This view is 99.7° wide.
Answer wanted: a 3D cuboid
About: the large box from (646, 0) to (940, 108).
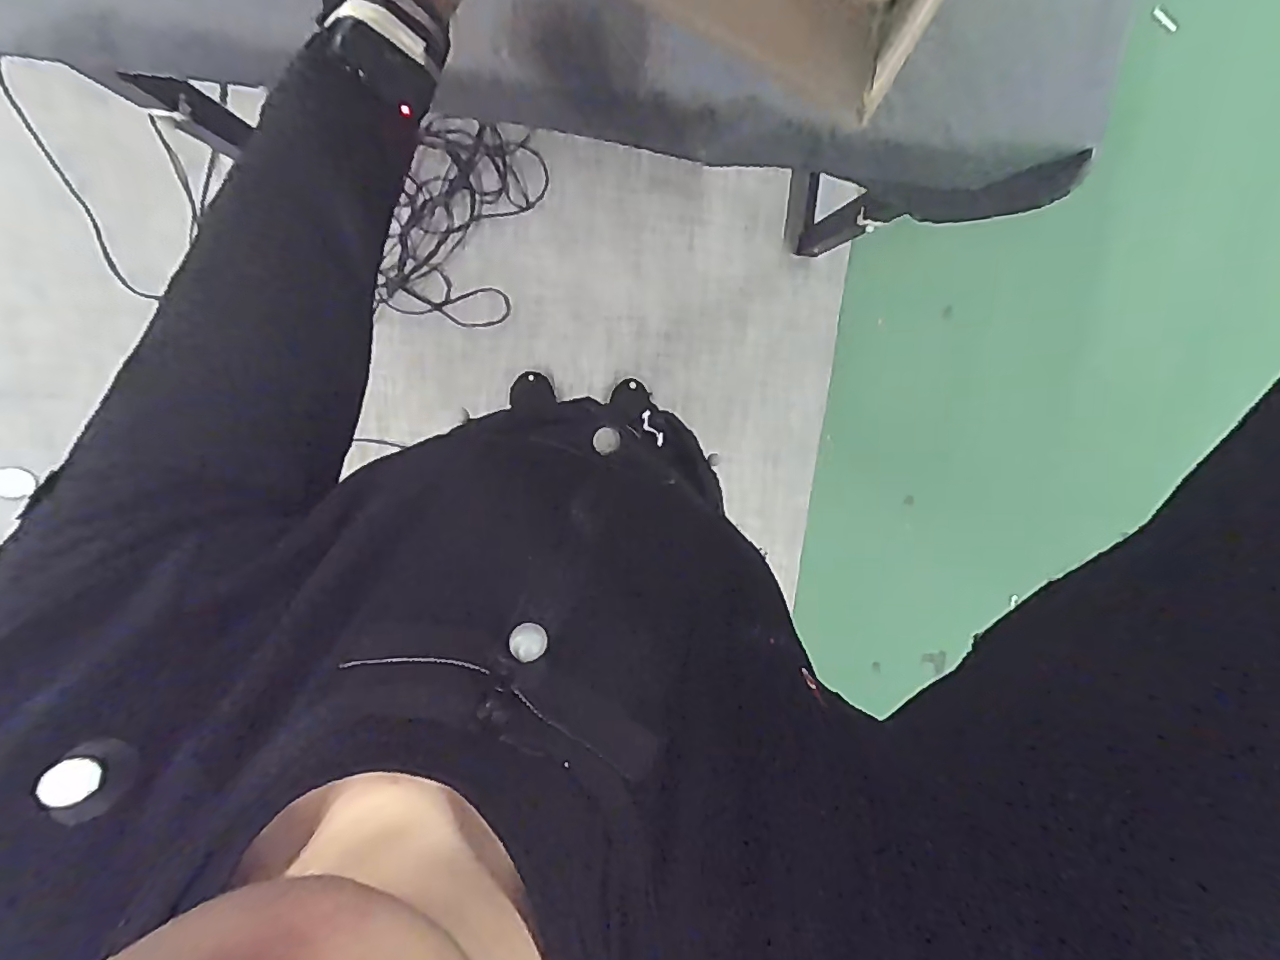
[{"bbox_3d":[0.010,-0.405,0.200,0.408,0.320,0.320,30,123,2],"label":"large box"}]
